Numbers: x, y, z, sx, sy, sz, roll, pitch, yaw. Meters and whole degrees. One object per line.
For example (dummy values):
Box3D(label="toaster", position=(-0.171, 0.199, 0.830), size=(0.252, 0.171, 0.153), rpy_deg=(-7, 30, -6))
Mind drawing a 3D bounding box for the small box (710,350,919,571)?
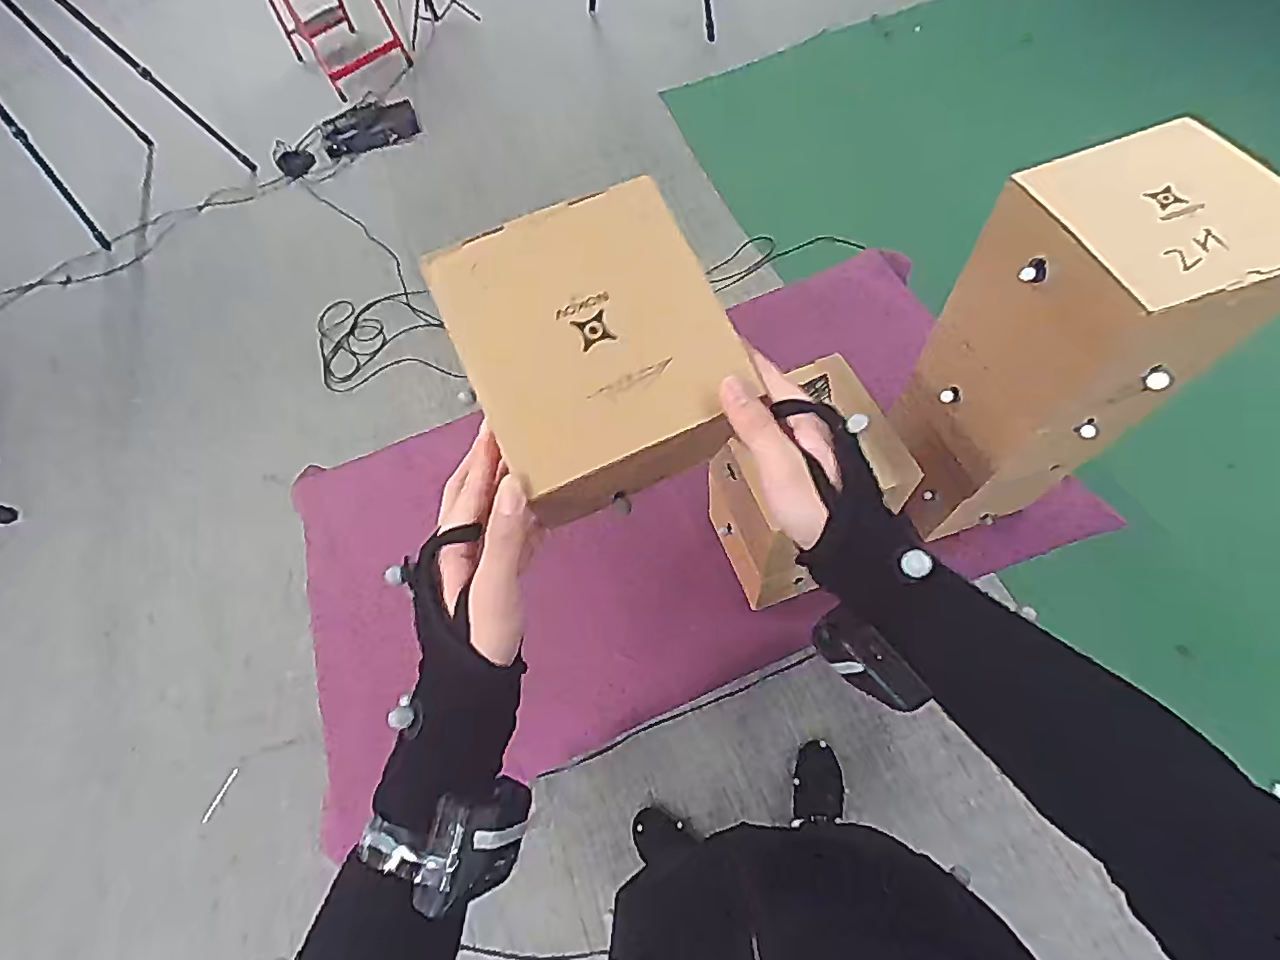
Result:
Box3D(label="small box", position=(0.186, -0.016, 0.644), size=(0.168, 0.176, 0.179), rpy_deg=(-20, 63, -1))

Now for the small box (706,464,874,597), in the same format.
Box3D(label="small box", position=(0.207, 0.058, 0.789), size=(0.168, 0.176, 0.179), rpy_deg=(-21, 62, -2))

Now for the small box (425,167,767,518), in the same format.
Box3D(label="small box", position=(-0.034, -0.087, 0.415), size=(0.168, 0.176, 0.179), rpy_deg=(-24, 82, -8))

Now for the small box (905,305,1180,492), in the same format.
Box3D(label="small box", position=(0.451, -0.113, 0.648), size=(0.168, 0.176, 0.179), rpy_deg=(-19, 62, 0))

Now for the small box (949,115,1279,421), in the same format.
Box3D(label="small box", position=(0.429, -0.185, 0.501), size=(0.168, 0.176, 0.179), rpy_deg=(-18, 63, 0))
